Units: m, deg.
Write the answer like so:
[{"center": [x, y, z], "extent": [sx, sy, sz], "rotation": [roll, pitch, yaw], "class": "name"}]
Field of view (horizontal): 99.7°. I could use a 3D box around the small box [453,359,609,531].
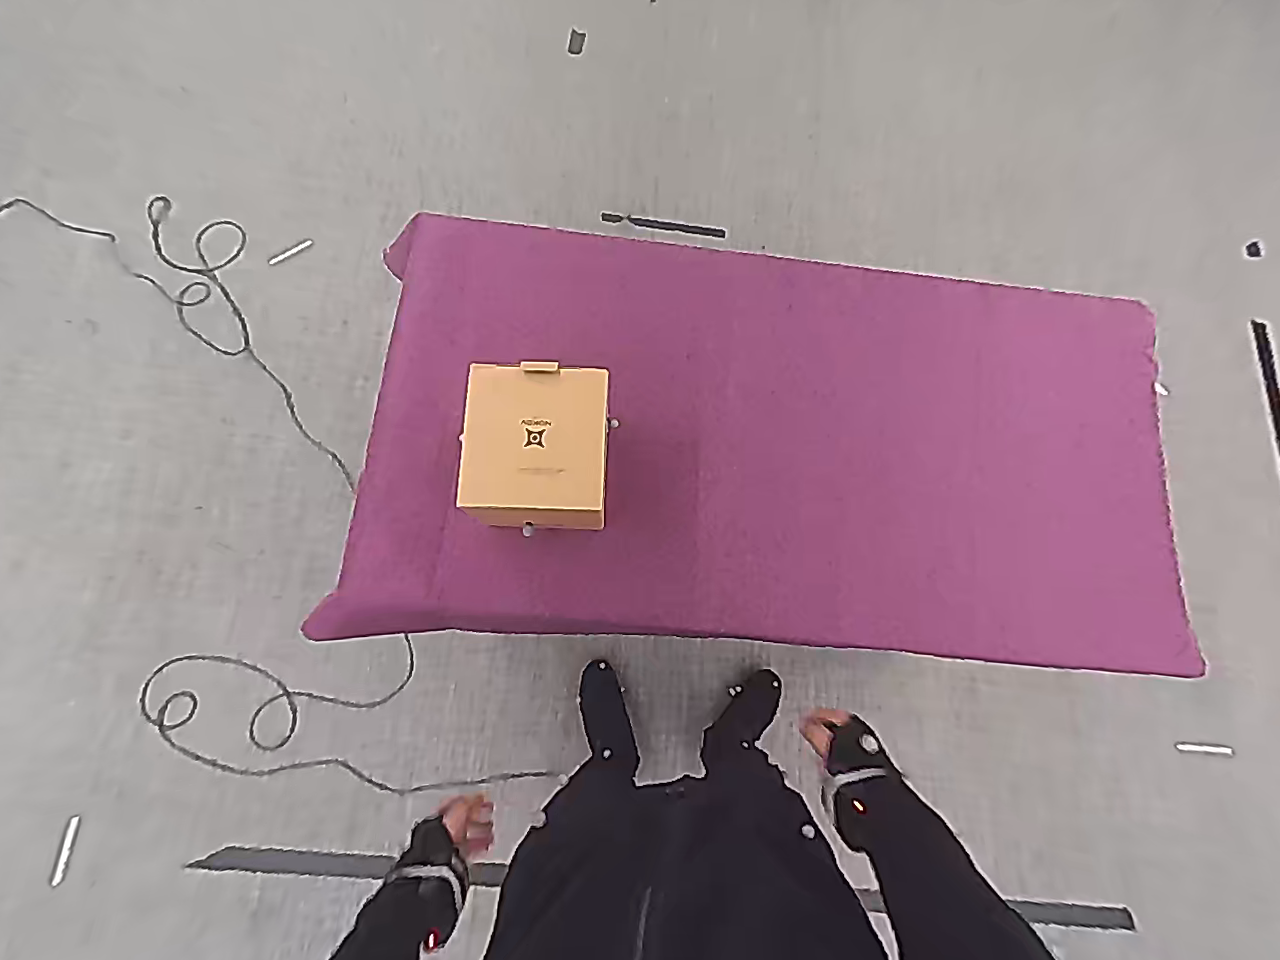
[{"center": [-0.128, -0.036, 0.697], "extent": [0.168, 0.176, 0.179], "rotation": [3, 77, -3], "class": "small box"}]
